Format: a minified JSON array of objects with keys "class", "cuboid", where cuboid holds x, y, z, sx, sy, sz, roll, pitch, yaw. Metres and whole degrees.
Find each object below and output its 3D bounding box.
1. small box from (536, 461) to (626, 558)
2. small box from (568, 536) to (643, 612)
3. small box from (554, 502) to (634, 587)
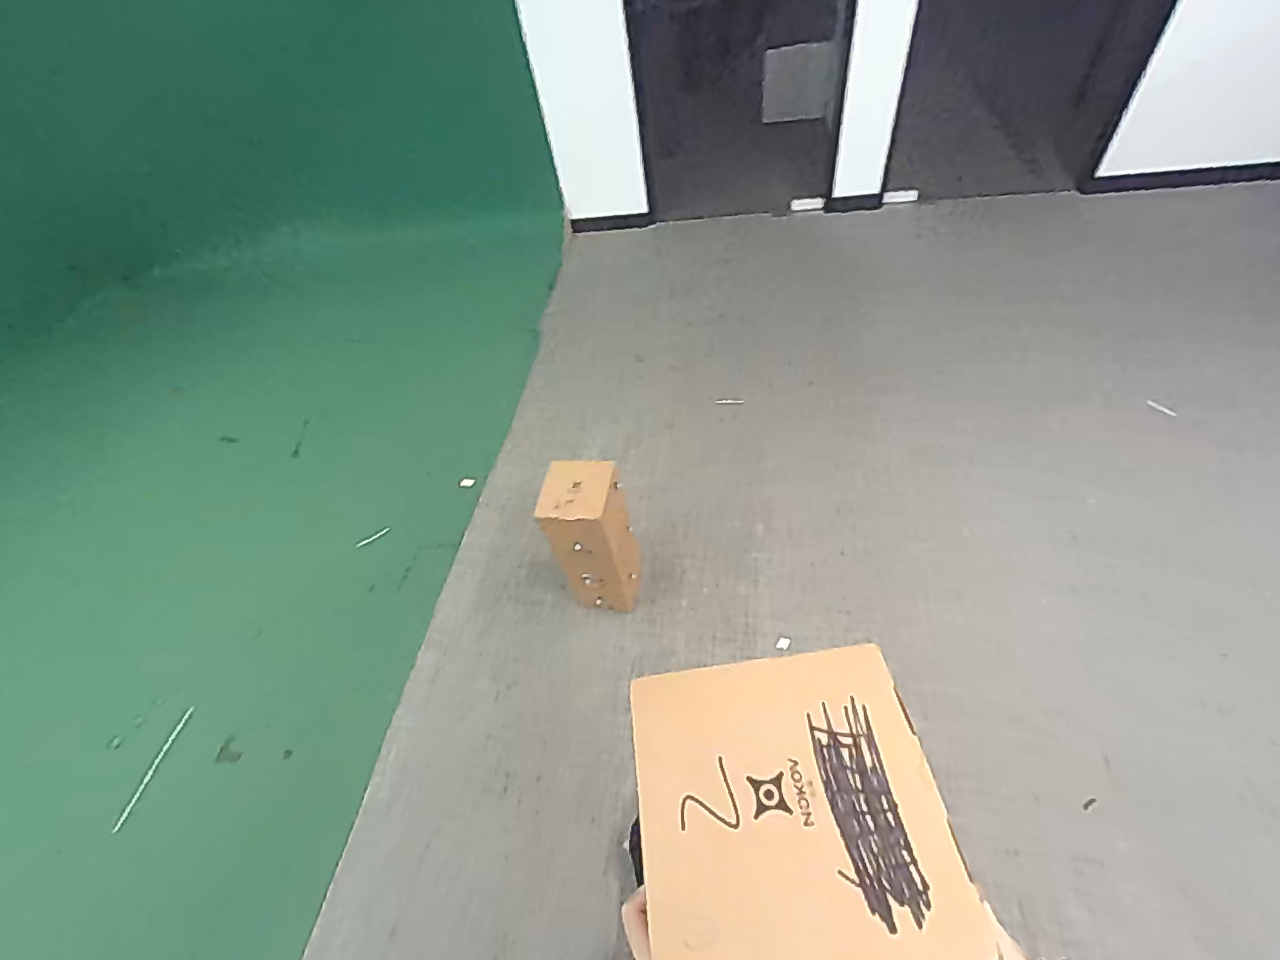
[{"class":"small box","cuboid":[-0.138,0.072,1.342,0.168,0.176,0.179,1,52,13]},{"class":"small box","cuboid":[-0.095,0.272,1.598,0.168,0.176,0.179,4,53,14]},{"class":"small box","cuboid":[-0.115,0.172,1.471,0.168,0.176,0.179,1,53,13]}]
